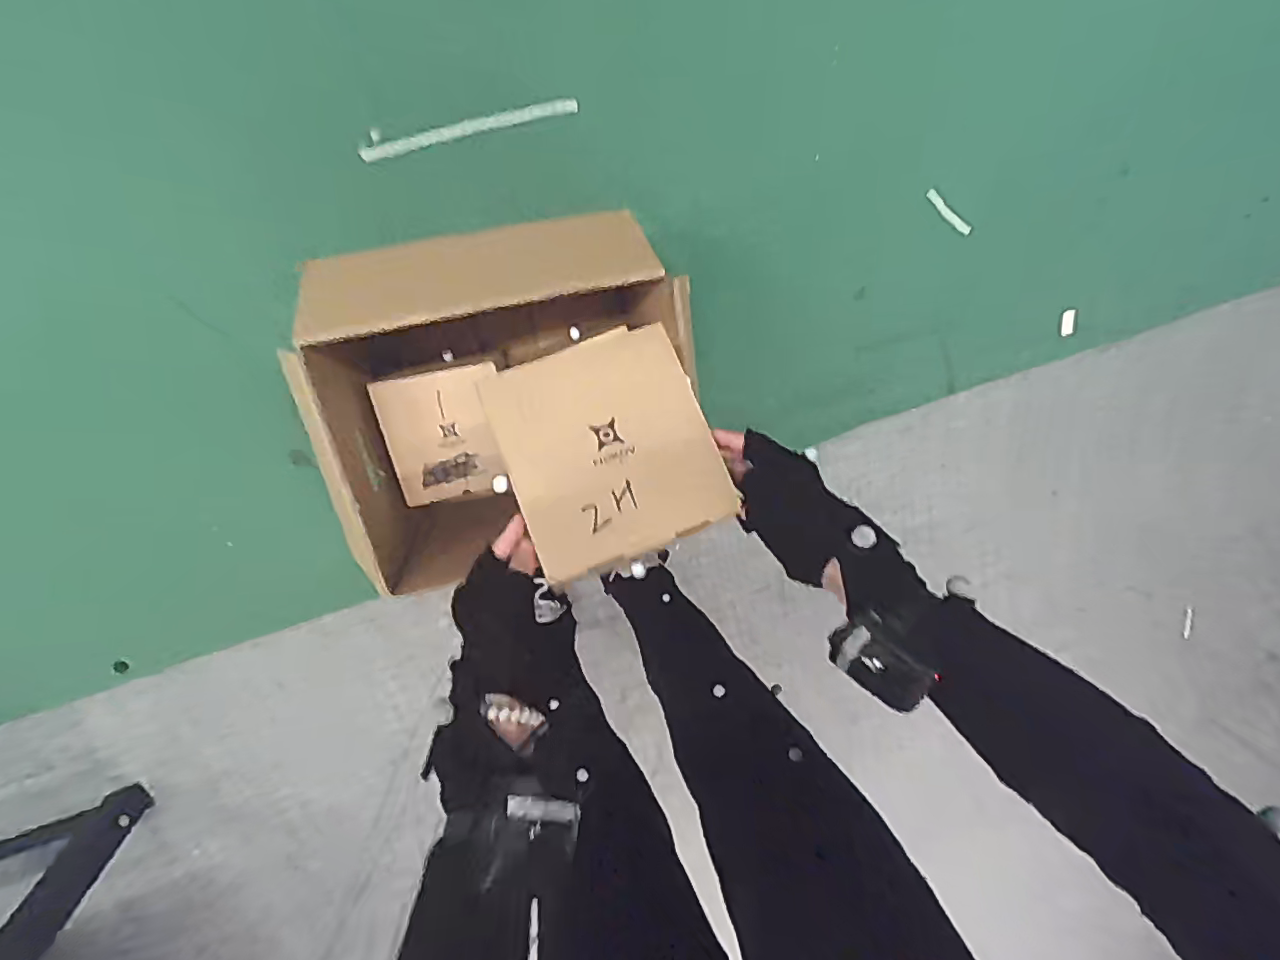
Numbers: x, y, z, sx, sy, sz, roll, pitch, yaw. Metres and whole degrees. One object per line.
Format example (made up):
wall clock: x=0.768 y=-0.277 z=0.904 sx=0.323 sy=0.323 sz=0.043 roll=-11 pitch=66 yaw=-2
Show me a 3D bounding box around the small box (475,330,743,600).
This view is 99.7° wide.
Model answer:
small box: x=-0.034 y=-0.002 z=0.497 sx=0.168 sy=0.176 sz=0.179 roll=-21 pitch=79 yaw=-11
